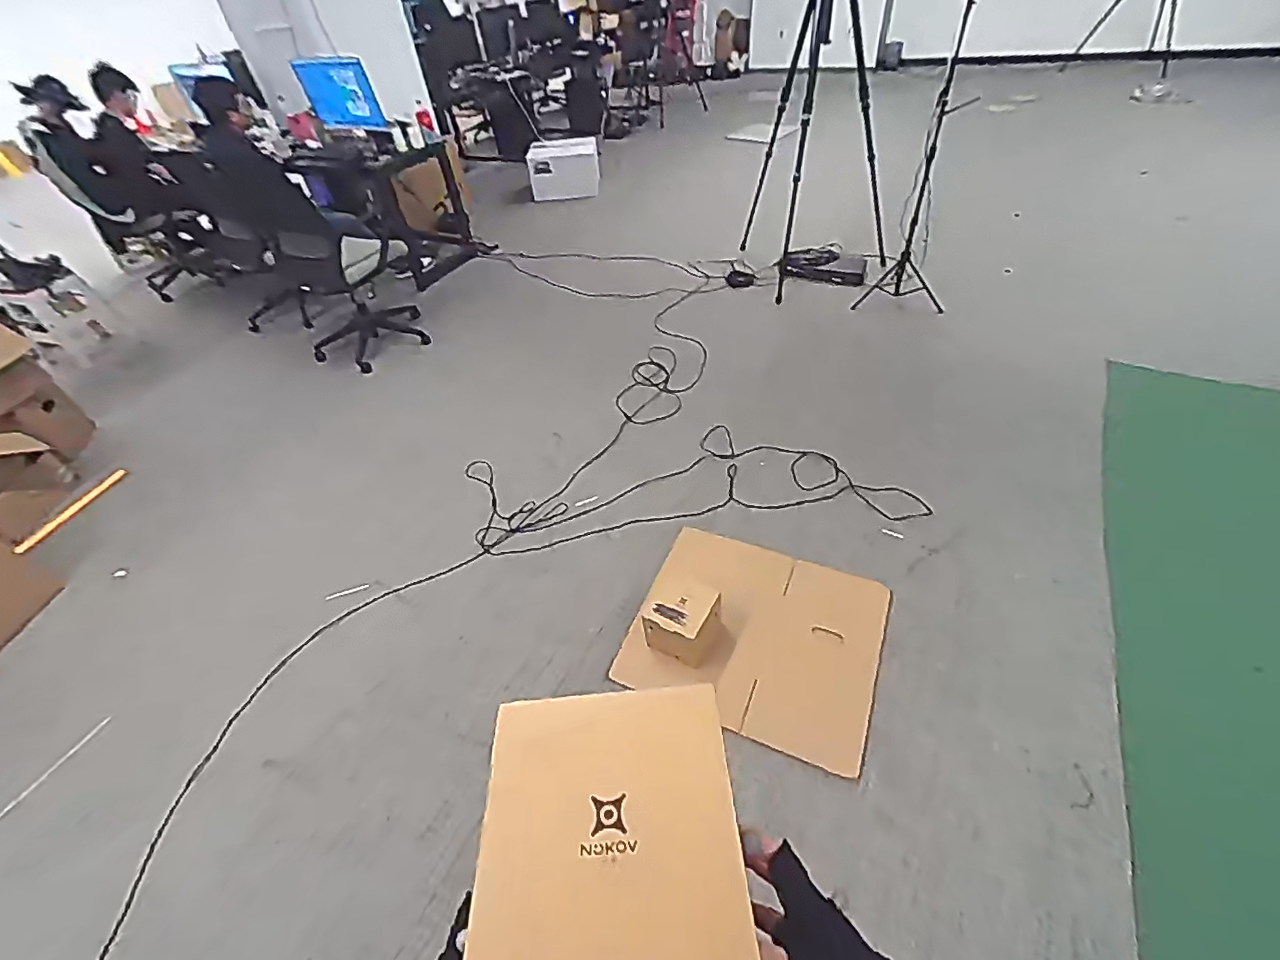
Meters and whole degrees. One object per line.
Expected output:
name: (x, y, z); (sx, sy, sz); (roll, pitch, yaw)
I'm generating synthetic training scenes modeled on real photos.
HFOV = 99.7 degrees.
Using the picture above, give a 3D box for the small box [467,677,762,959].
small box: (-0.015, 0.274, 0.404); (0.168, 0.176, 0.179); (-5, 43, 0)
